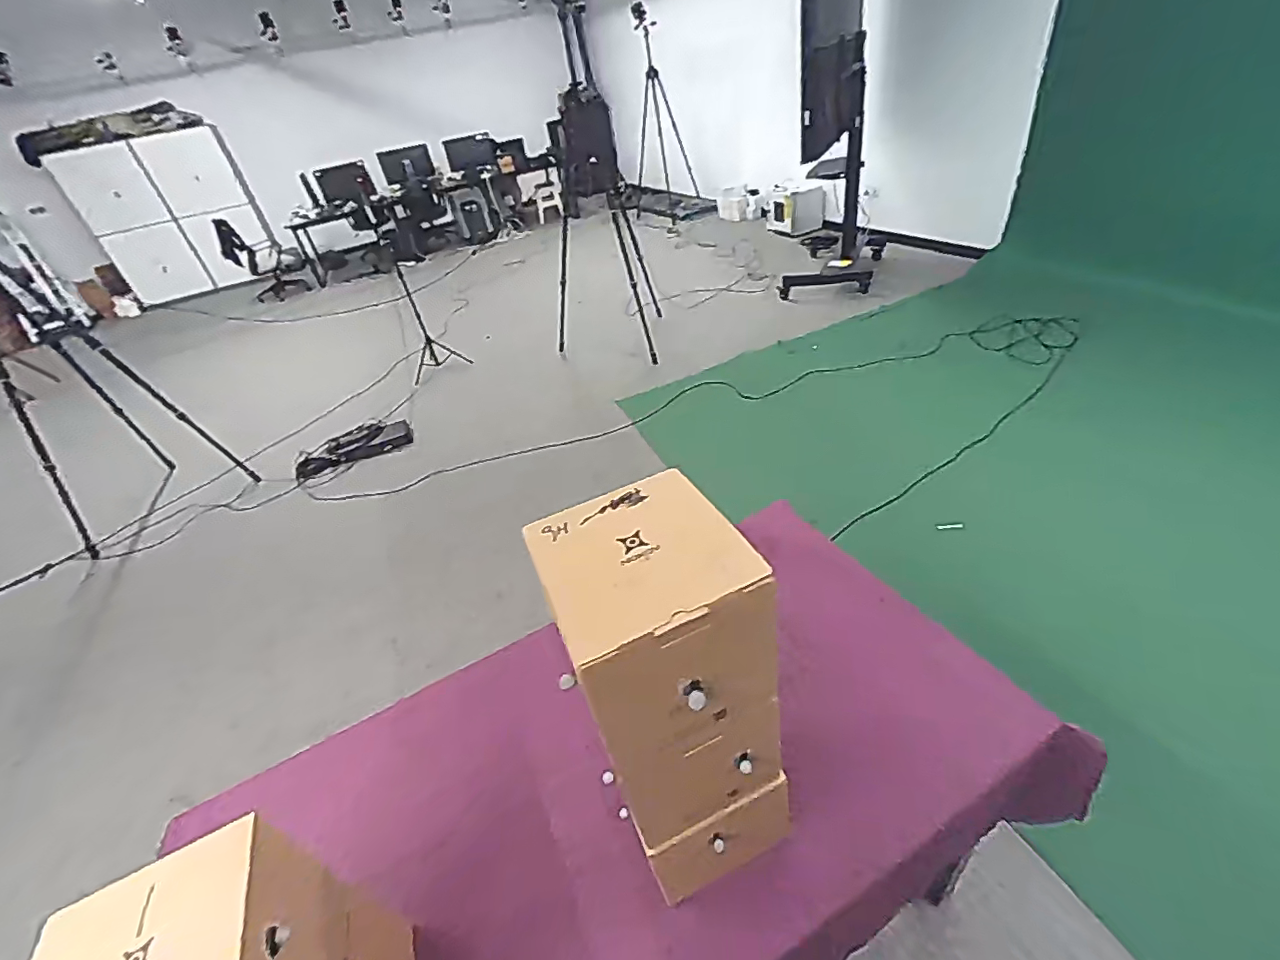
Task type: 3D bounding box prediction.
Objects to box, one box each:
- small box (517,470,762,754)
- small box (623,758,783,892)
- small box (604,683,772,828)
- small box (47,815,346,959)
[{"bbox_3d":[0.003,0.125,0.510,0.168,0.176,0.179,-22,38,-13],"label":"small box"},{"bbox_3d":[0.069,0.385,0.699,0.179,0.176,0.168,-22,38,-11],"label":"small box"},{"bbox_3d":[0.036,0.253,0.609,0.168,0.176,0.179,-21,37,-12],"label":"small box"},{"bbox_3d":[-0.380,0.452,0.476,0.168,0.176,0.179,-24,37,-16],"label":"small box"}]
